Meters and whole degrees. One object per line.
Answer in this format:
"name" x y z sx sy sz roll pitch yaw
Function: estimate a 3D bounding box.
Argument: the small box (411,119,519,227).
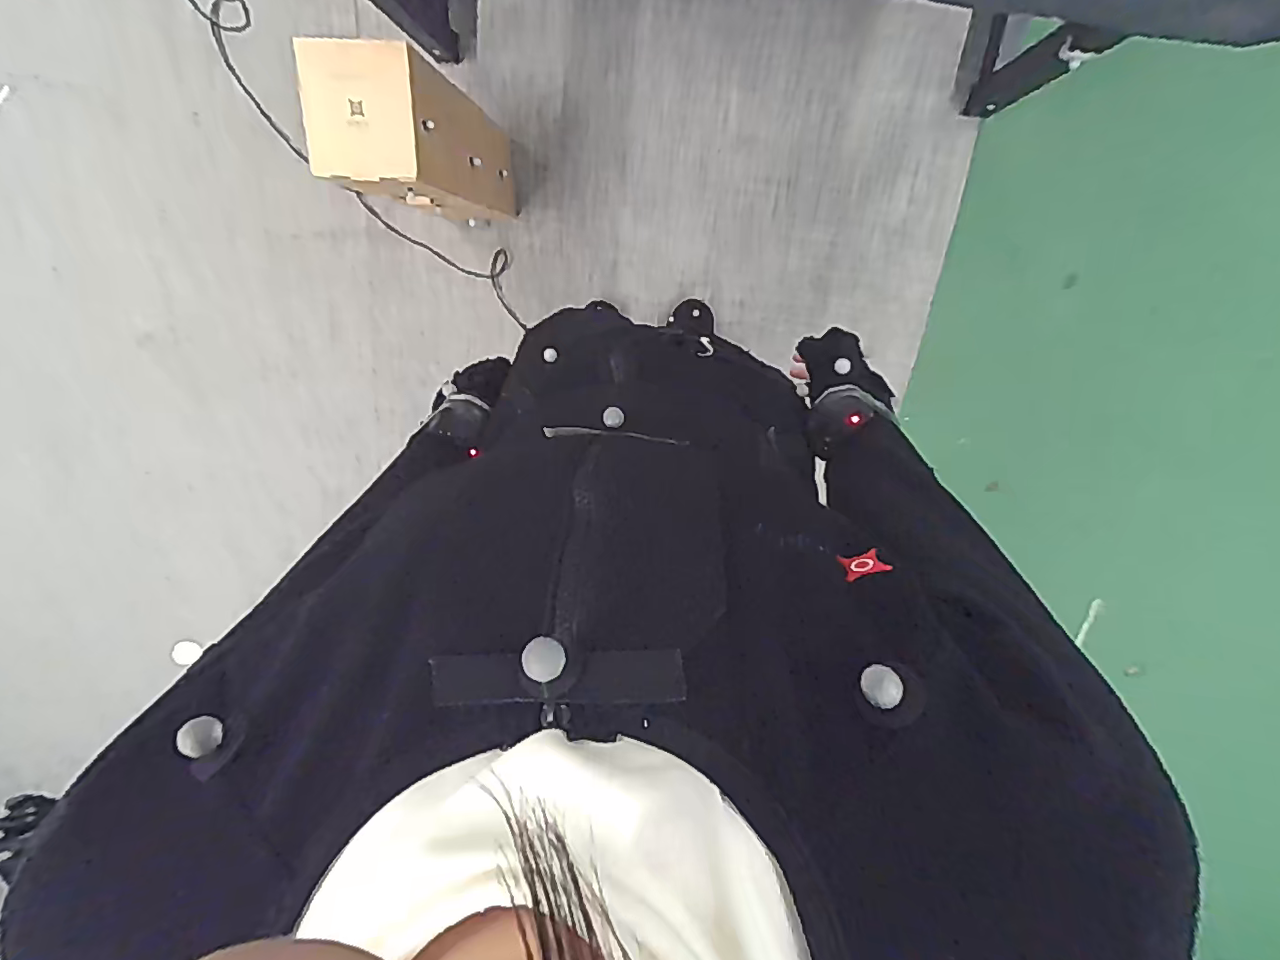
"small box" -0.370 -0.654 1.170 0.168 0.176 0.179 1 110 5
